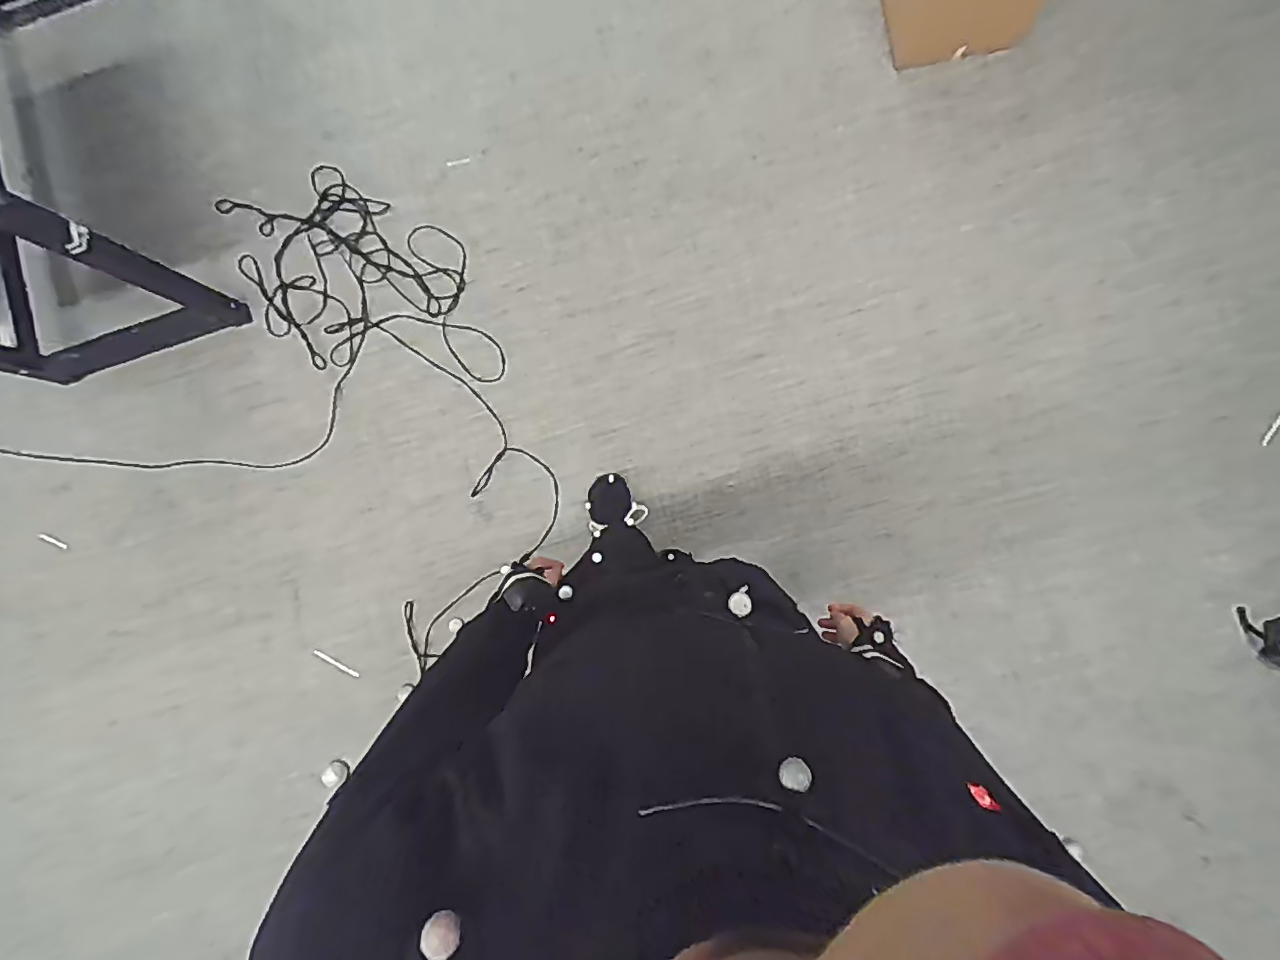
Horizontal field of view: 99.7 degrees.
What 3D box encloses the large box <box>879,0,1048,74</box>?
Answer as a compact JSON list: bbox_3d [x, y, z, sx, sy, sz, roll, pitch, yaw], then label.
[{"bbox_3d":[0.773,-1.290,1.272,0.320,0.320,0.408,-11,87,4],"label":"large box"}]
